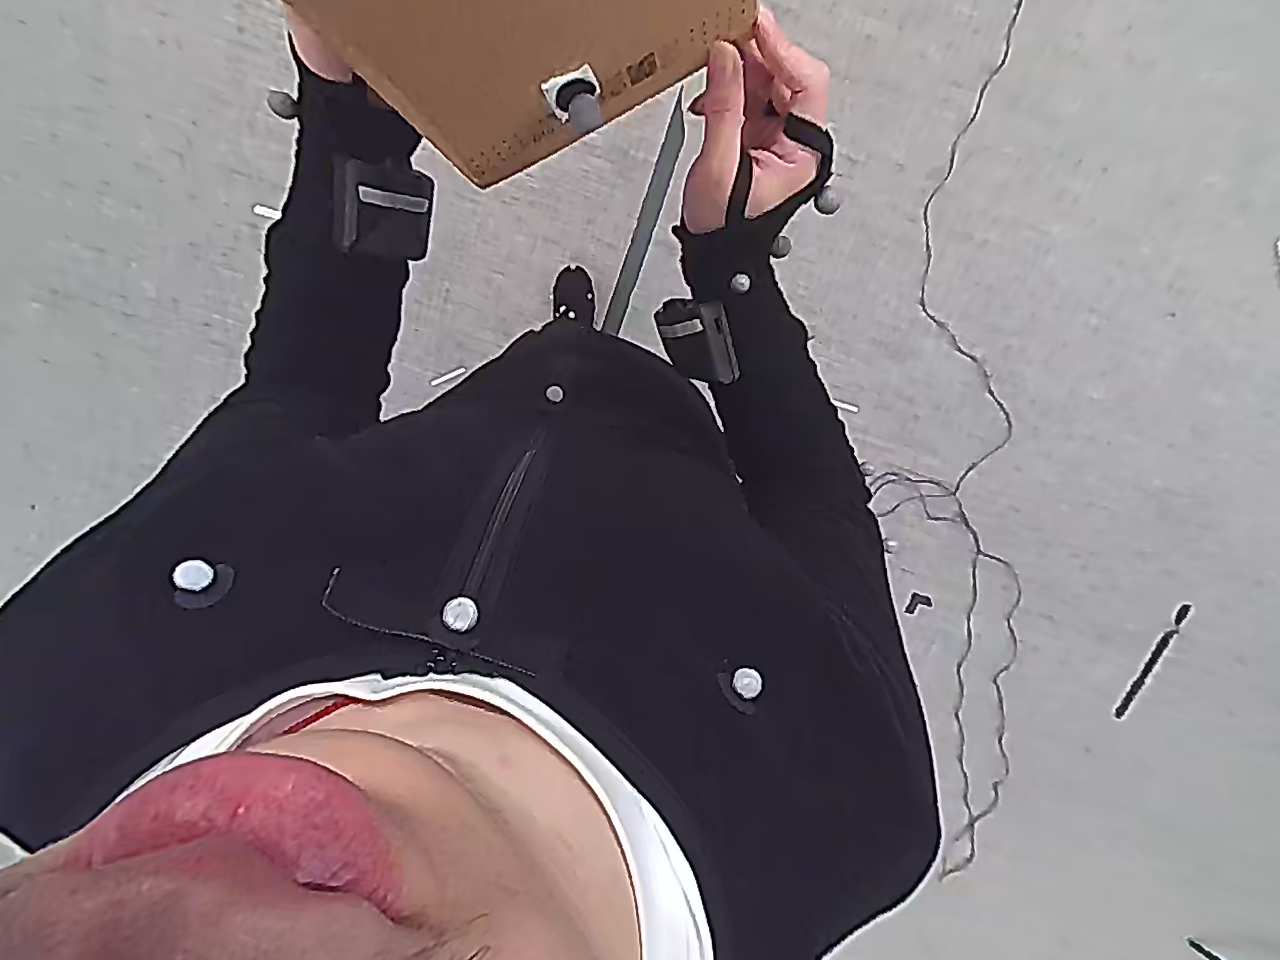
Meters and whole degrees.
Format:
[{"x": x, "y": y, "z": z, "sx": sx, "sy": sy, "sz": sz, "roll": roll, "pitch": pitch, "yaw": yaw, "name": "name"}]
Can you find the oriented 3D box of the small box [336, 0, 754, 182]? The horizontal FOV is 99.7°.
[{"x": -0.058, "y": -0.269, "z": 0.219, "sx": 0.168, "sy": 0.176, "sz": 0.179, "roll": -24, "pitch": 91, "yaw": 10, "name": "small box"}]
